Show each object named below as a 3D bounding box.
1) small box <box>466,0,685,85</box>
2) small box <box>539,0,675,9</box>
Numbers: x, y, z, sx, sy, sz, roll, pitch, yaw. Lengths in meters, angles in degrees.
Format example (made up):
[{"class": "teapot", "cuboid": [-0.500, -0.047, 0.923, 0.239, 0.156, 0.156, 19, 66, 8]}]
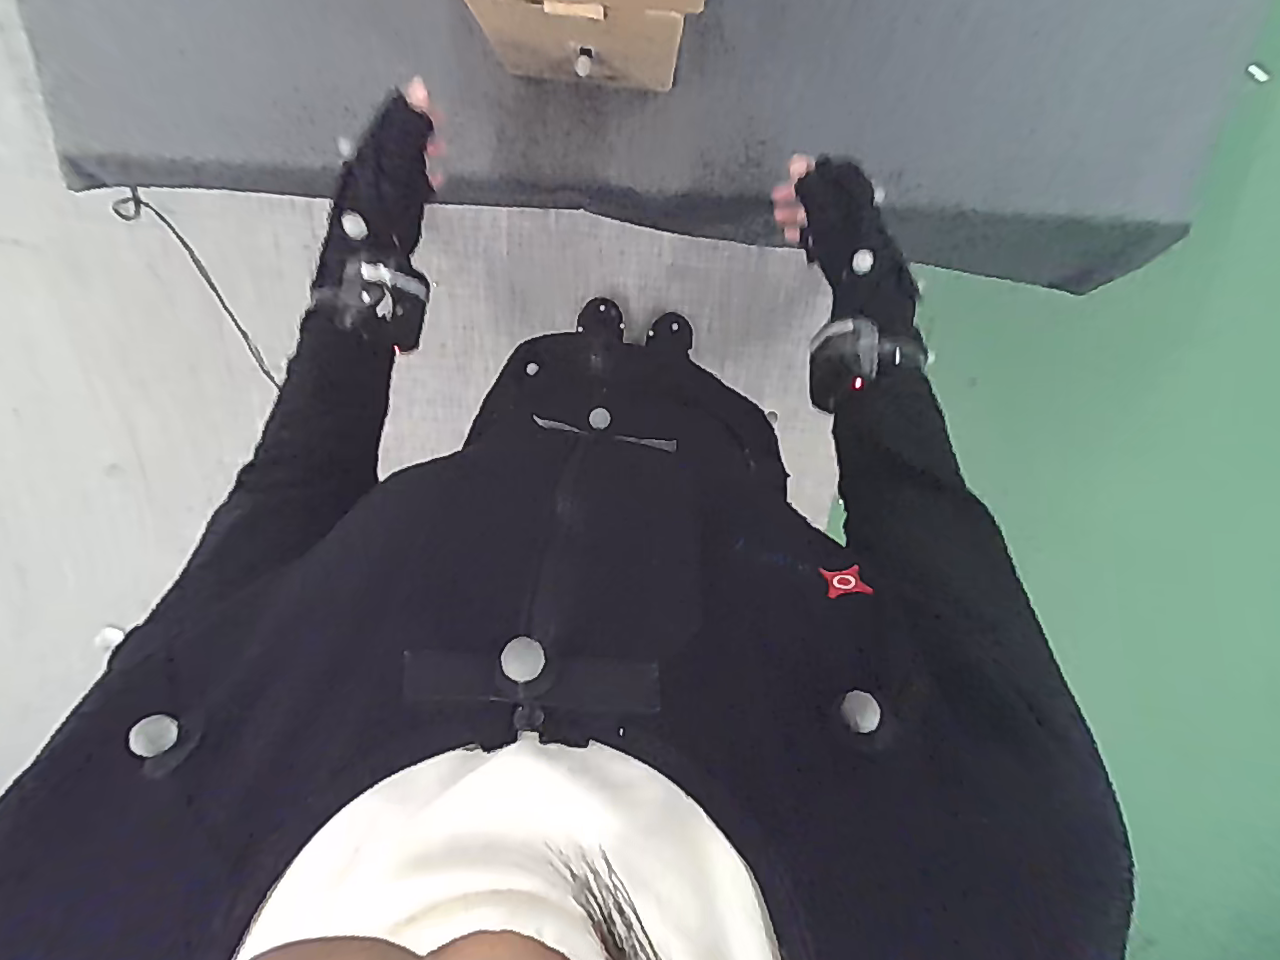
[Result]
[{"class": "small box", "cuboid": [-0.041, -0.452, 0.443, 0.168, 0.176, 0.179, 4, 111, 0]}, {"class": "small box", "cuboid": [-0.037, -0.393, 0.289, 0.179, 0.176, 0.168, 4, 110, 1]}]
